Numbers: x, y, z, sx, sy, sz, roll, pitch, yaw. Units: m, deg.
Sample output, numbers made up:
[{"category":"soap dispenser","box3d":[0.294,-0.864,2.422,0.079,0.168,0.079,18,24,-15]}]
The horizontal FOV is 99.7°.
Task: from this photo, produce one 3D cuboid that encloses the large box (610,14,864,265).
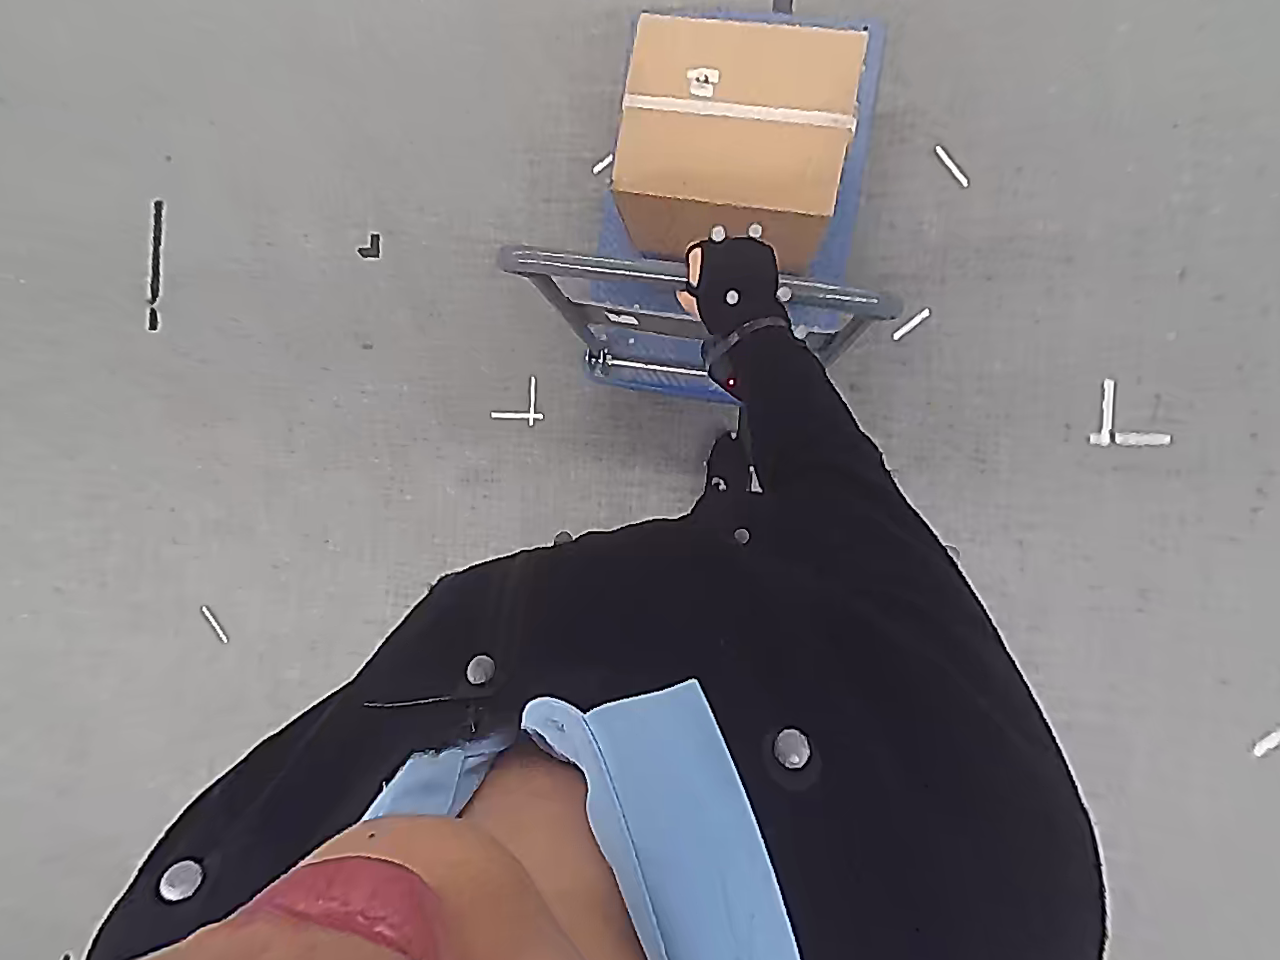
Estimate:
[{"category":"large box","box3d":[0.188,-0.656,1.092,0.408,0.320,0.320,11,93,9]}]
